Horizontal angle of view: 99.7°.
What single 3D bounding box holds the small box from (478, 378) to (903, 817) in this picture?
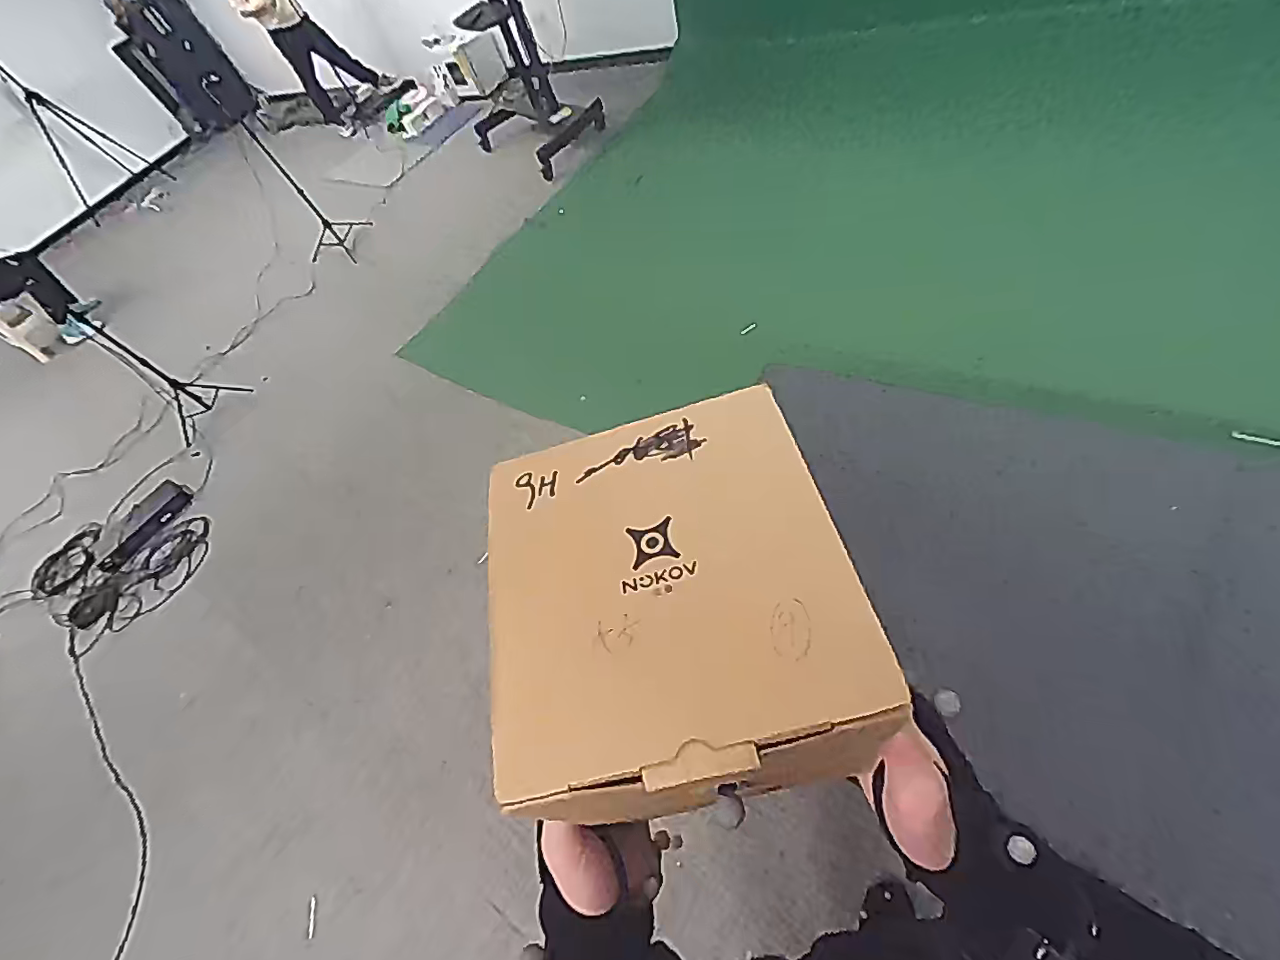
[{"bbox_3d":[0.021,0.078,0.310,0.168,0.176,0.179,-15,55,4],"label":"small box"}]
